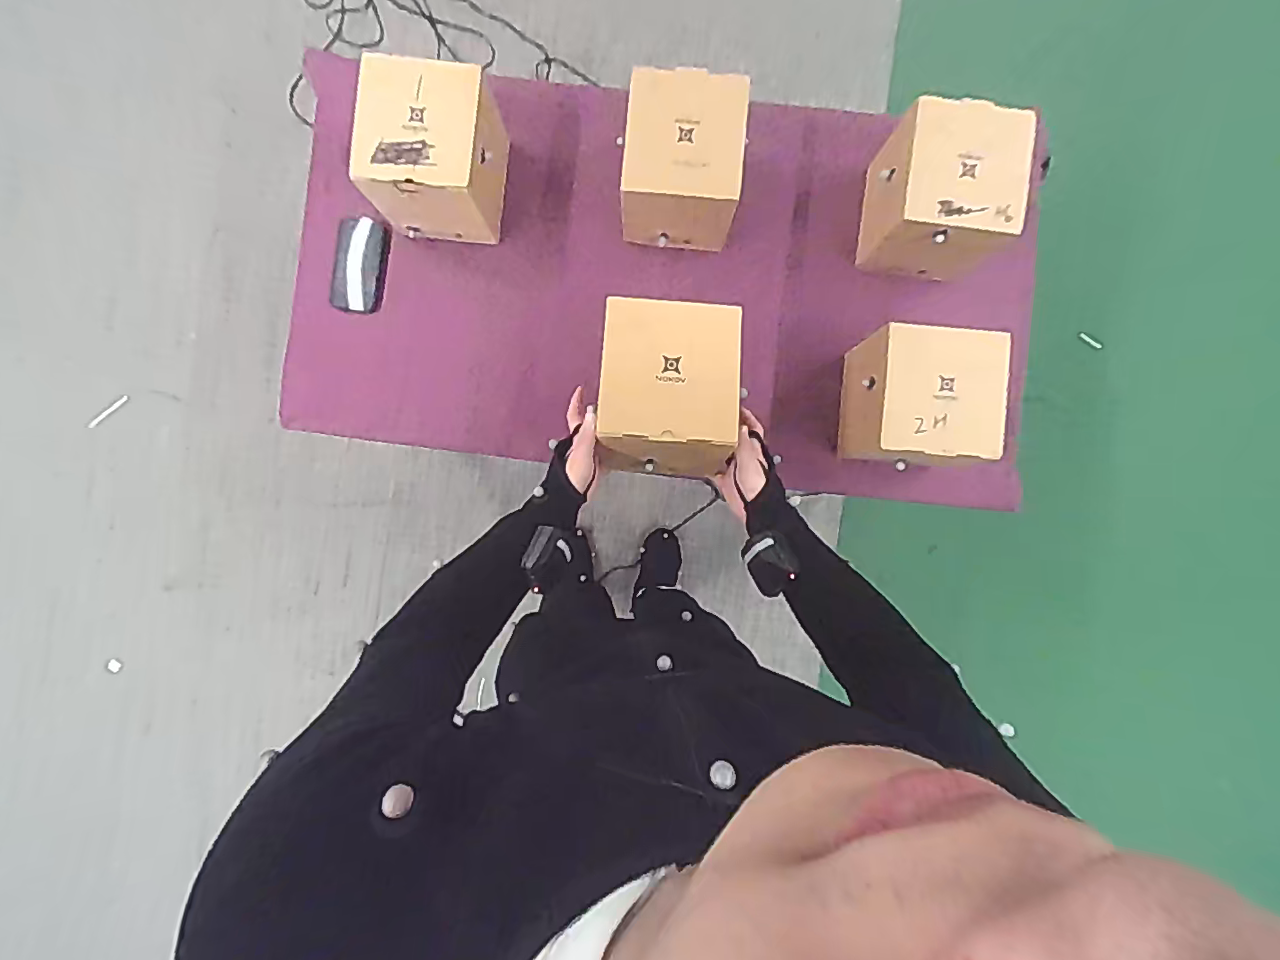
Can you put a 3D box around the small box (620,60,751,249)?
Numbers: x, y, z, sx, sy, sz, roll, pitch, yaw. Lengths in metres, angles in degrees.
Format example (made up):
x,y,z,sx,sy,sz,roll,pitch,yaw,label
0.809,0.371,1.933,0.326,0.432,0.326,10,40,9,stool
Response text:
x,y,z,sx,sy,sz,roll,pitch,yaw,label
0.063,-0.477,0.813,0.168,0.176,0.179,6,90,1,small box

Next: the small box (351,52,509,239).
x,y,z,sx,sy,sz,roll,pitch,yaw,label
-0.303,-0.488,0.814,0.168,0.176,0.179,6,89,0,small box

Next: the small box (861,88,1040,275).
x,y,z,sx,sy,sz,roll,pitch,yaw,label
0.449,-0.432,0.807,0.168,0.176,0.179,8,89,1,small box

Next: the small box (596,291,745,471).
x,y,z,sx,sy,sz,roll,pitch,yaw,label
0.034,-0.118,0.701,0.168,0.176,0.179,4,80,-1,small box

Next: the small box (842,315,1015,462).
x,y,z,sx,sy,sz,roll,pitch,yaw,label
0.412,-0.125,0.799,0.168,0.176,0.179,6,89,2,small box
